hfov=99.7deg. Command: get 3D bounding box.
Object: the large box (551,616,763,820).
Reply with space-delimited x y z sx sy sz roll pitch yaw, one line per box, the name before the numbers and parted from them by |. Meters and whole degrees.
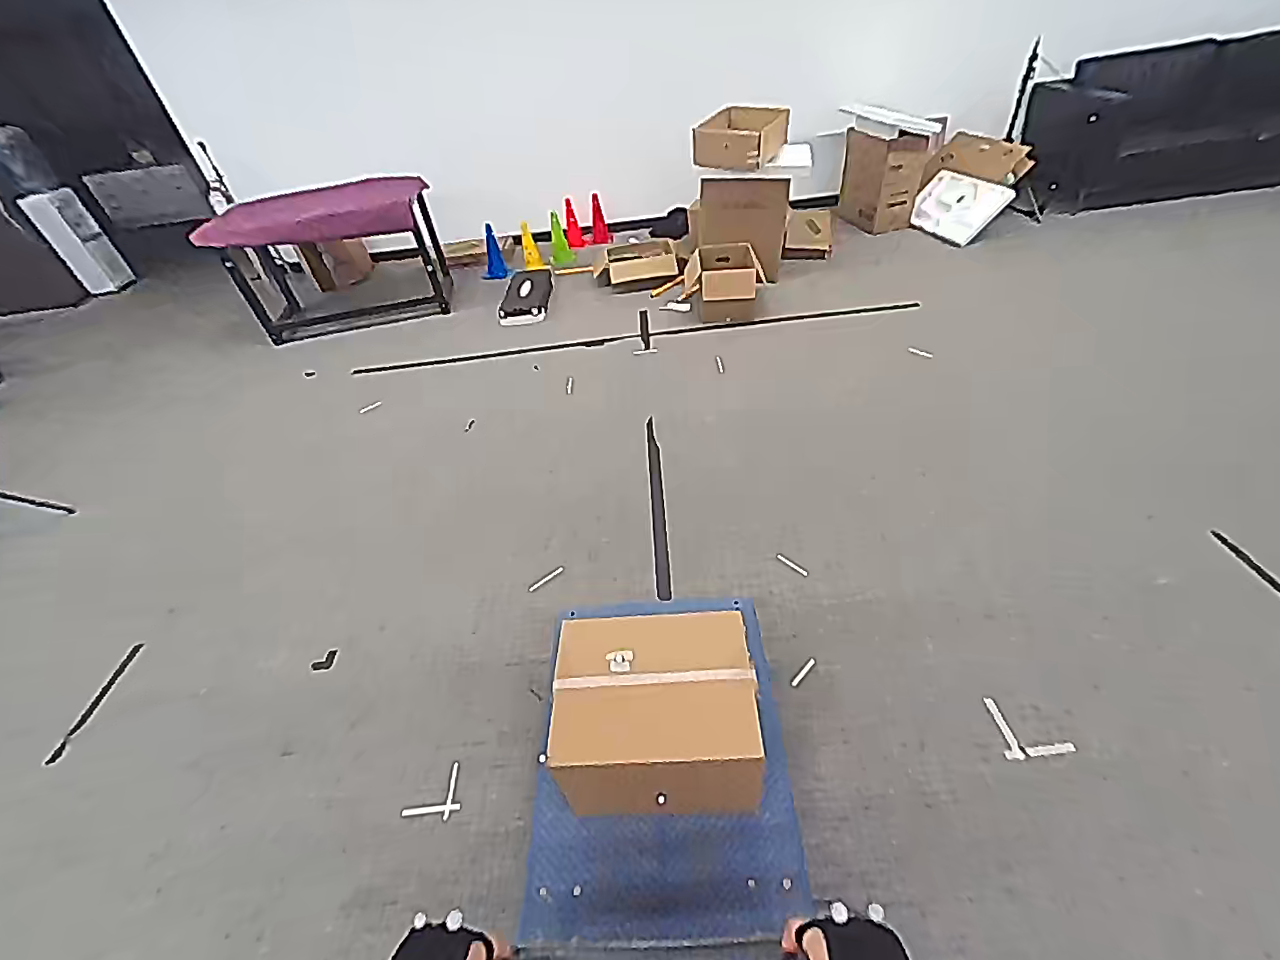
large box | 0.045 0.536 1.211 0.408 0.320 0.320 -6 41 4
